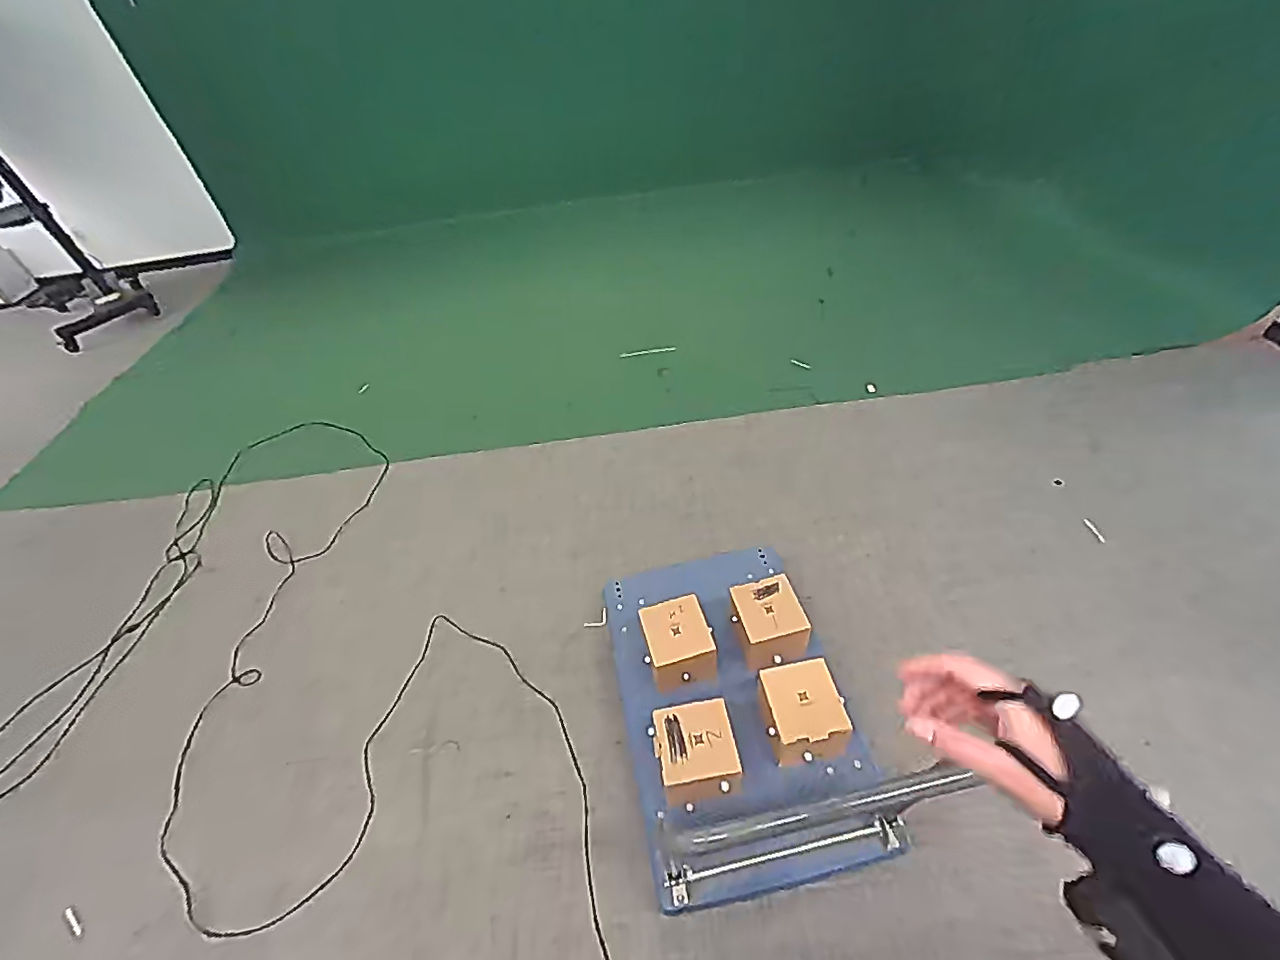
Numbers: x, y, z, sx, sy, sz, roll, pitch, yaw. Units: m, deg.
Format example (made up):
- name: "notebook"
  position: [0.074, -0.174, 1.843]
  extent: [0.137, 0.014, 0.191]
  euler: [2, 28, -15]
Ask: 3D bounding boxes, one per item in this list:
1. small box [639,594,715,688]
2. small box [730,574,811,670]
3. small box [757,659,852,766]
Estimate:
- name: "small box"
  position: [0.102, 0.446, 1.478]
  extent: [0.168, 0.176, 0.179]
  euler: [-14, 46, -6]
- name: "small box"
  position: [0.352, 0.393, 1.494]
  extent: [0.168, 0.176, 0.179]
  euler: [-14, 47, -4]
- name: "small box"
  position: [0.392, 0.569, 1.323]
  extent: [0.168, 0.176, 0.179]
  euler: [-11, 45, -2]
